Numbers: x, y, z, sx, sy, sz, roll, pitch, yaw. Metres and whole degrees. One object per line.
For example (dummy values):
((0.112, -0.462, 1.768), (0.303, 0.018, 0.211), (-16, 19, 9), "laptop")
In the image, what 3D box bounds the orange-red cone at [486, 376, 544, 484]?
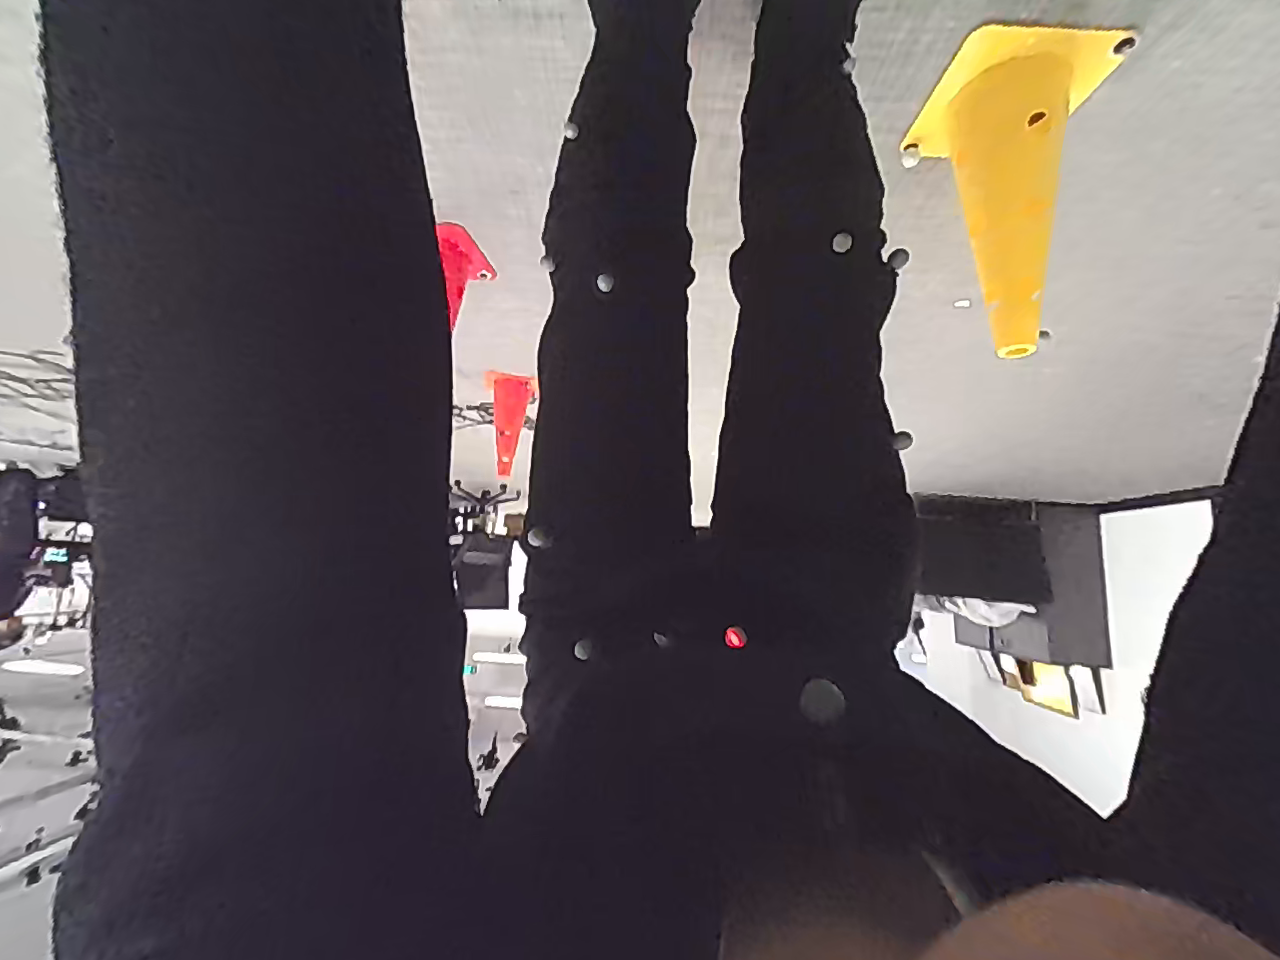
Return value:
((-0.474, -0.165, 1.943), (0.199, 0.360, 0.198), (8, 168, -16), "orange-red cone")

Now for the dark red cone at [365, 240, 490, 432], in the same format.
((-0.457, -0.288, 1.116), (0.202, 0.394, 0.201), (2, 167, 11), "dark red cone")
